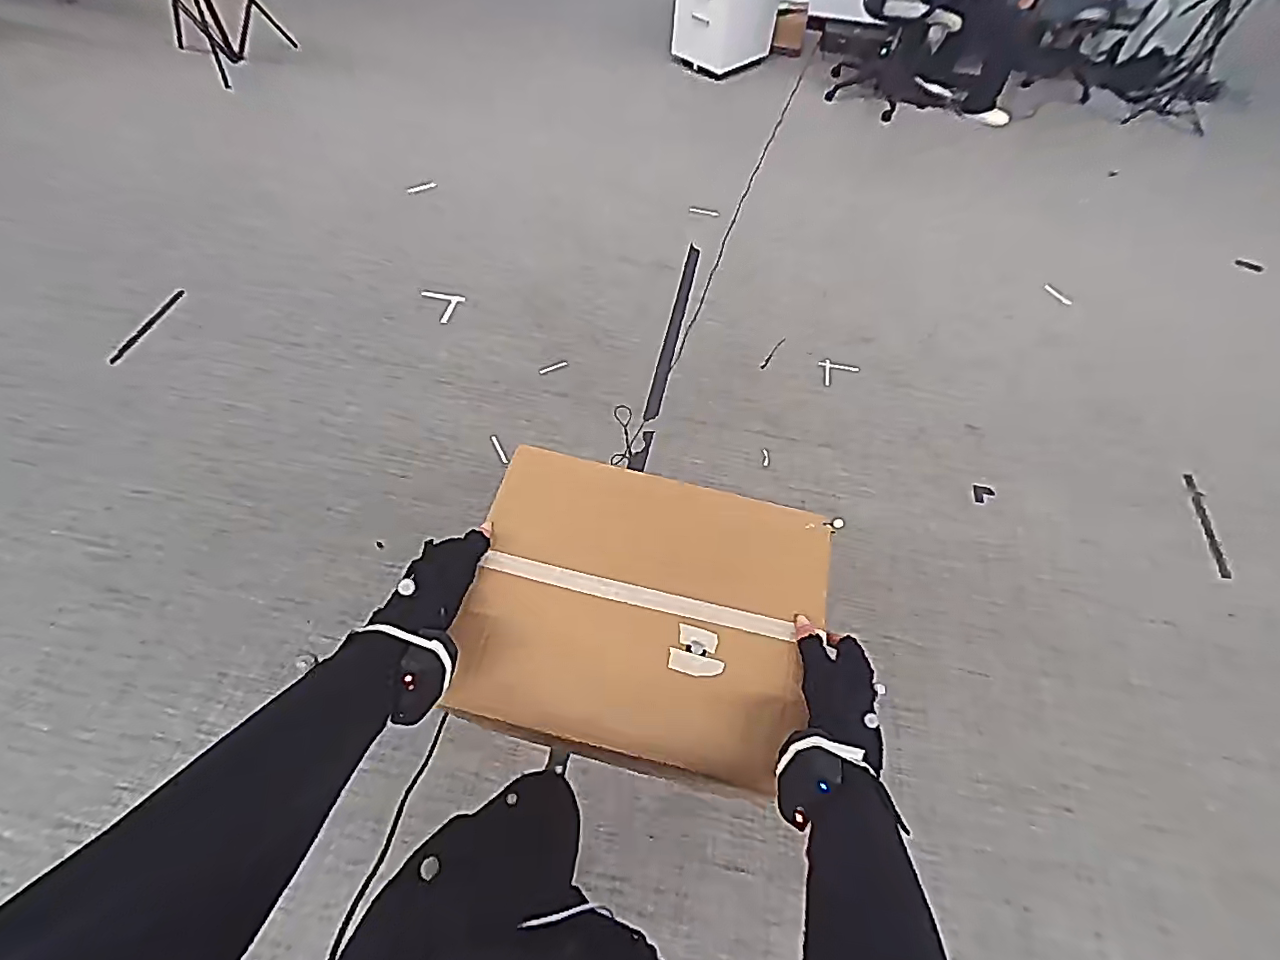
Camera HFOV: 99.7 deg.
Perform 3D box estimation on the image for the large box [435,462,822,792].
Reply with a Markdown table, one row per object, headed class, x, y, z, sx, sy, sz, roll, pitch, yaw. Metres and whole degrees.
| class | x | y | z | sx | sy | sz | roll | pitch | yaw |
| --- | --- | --- | --- | --- | --- | --- | --- | --- | --- |
| large box | -0.004 | 0.218 | 0.753 | 0.408 | 0.320 | 0.320 | 13 | 61 | 3 |
